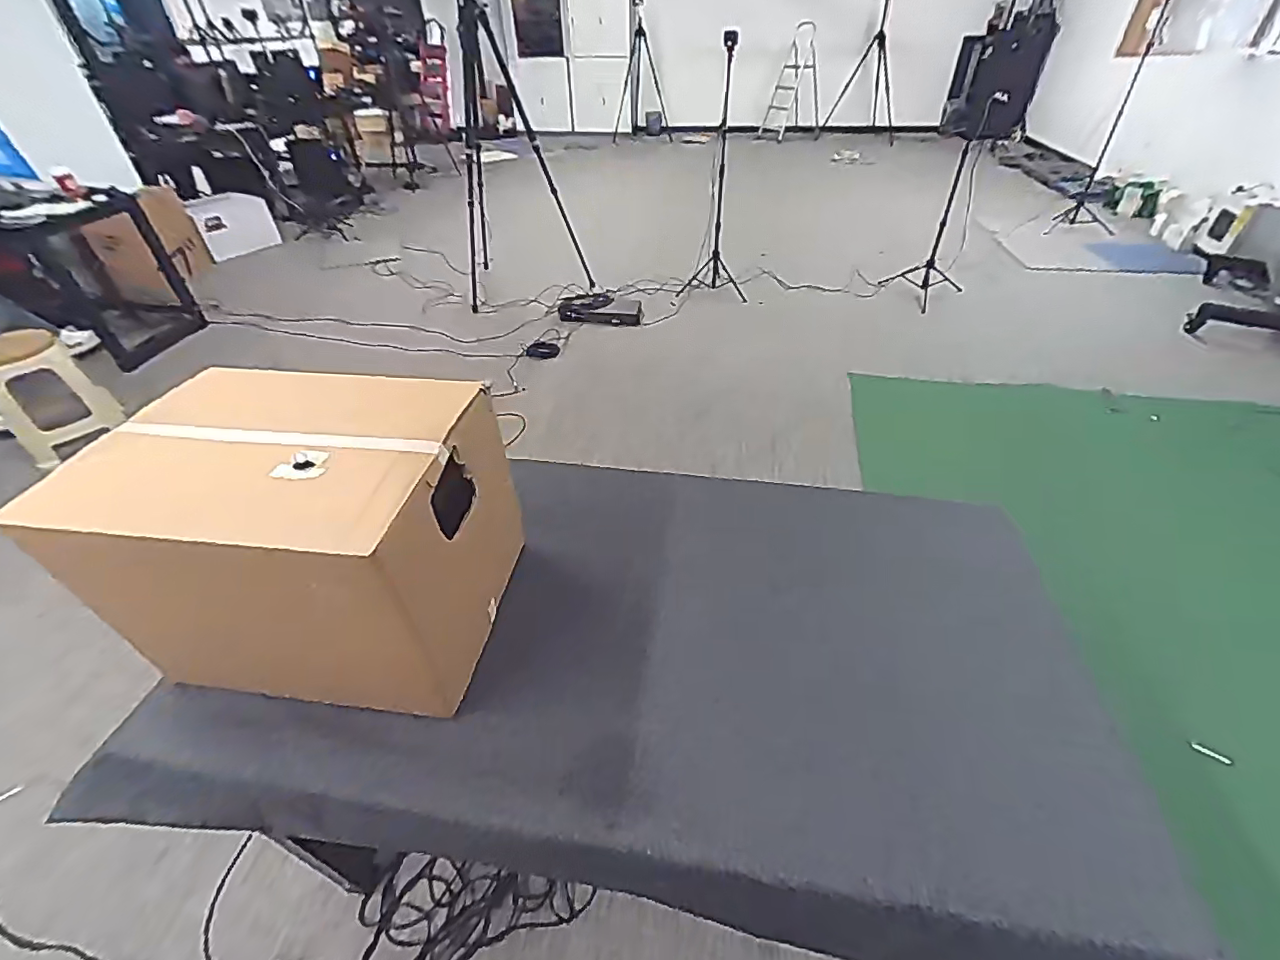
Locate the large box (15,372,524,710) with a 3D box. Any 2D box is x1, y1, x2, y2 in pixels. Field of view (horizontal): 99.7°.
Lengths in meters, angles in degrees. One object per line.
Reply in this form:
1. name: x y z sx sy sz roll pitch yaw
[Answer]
1. large box: -0.406 0.073 0.724 0.408 0.320 0.320 5 41 5
